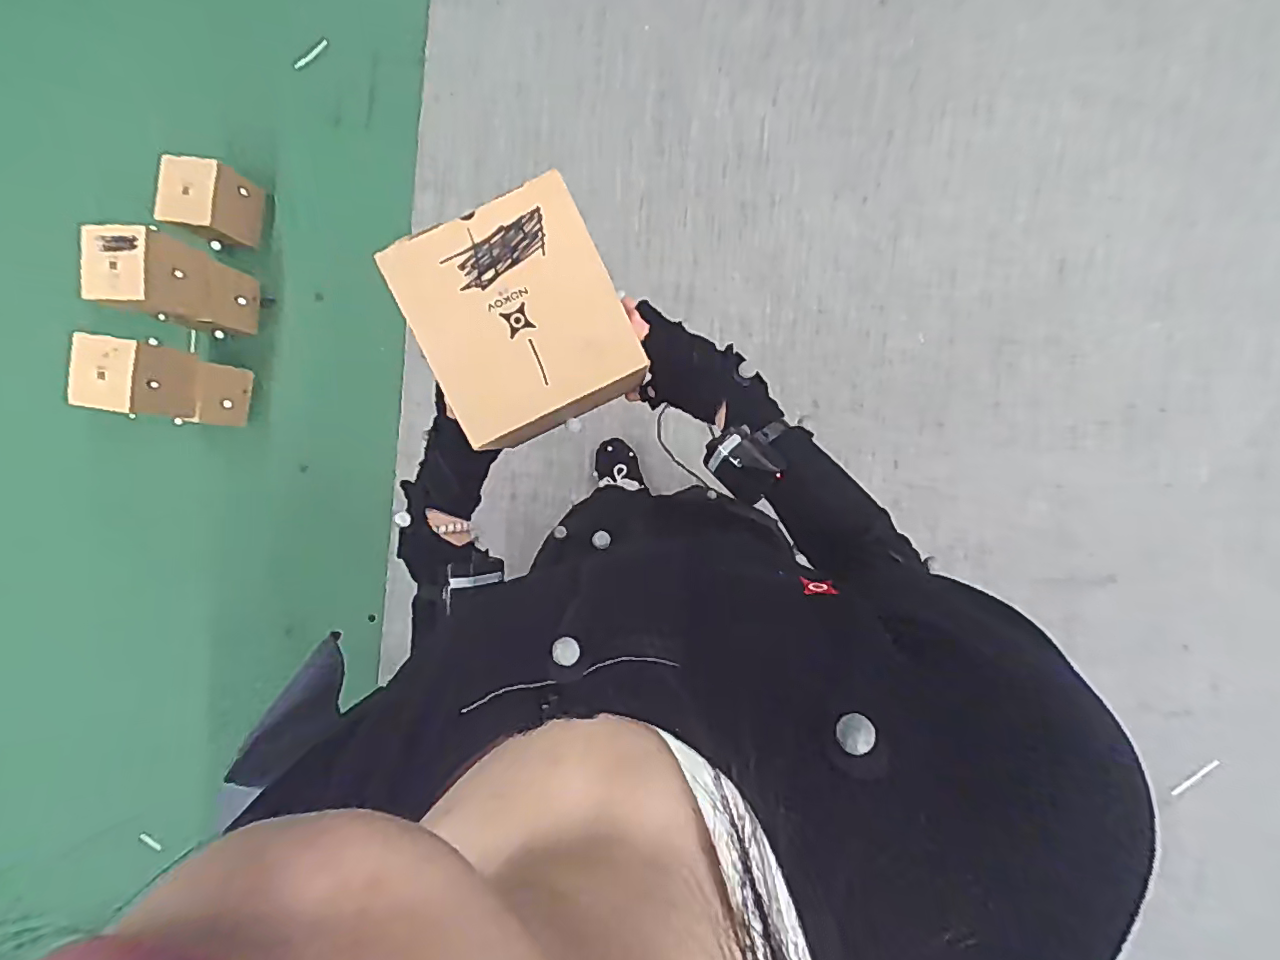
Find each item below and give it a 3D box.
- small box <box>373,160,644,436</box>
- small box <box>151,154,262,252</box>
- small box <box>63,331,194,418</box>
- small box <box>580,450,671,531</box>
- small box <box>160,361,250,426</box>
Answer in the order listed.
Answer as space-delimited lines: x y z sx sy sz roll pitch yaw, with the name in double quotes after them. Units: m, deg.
-0.108 -0.150 0.514 0.168 0.176 0.179 -25 95 0 "small box"
-1.189 -0.761 1.497 0.168 0.176 0.179 9 92 5 "small box"
-1.261 -0.254 1.344 0.168 0.176 0.179 9 92 5 "small box"
-0.043 0.022 1.434 0.179 0.176 0.168 20 103 21 "small box"
-1.239 -0.246 1.508 0.179 0.176 0.168 10 92 5 "small box"
